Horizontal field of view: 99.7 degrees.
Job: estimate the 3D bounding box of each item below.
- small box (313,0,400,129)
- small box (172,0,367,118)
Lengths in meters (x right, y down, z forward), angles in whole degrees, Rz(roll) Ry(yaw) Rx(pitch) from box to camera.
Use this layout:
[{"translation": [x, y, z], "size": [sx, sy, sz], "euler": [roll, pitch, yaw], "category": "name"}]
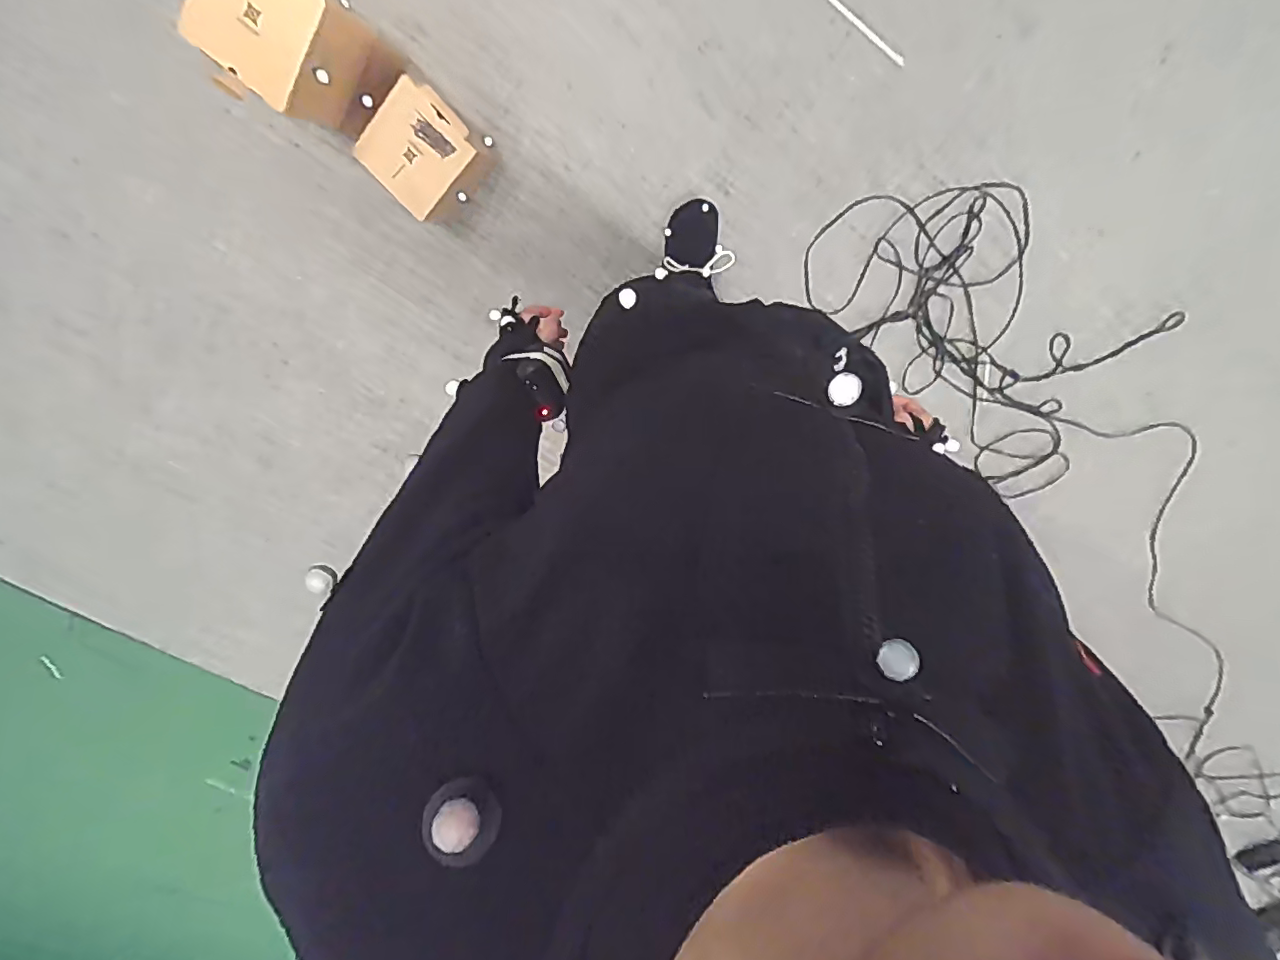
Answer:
[{"translation": [-0.574, -0.782, 0.990], "size": [0.168, 0.176, 0.179], "euler": [36, 114, -15], "category": "small box"}, {"translation": [-0.561, -0.710, 0.844], "size": [0.168, 0.176, 0.179], "euler": [36, 114, -16], "category": "small box"}]
